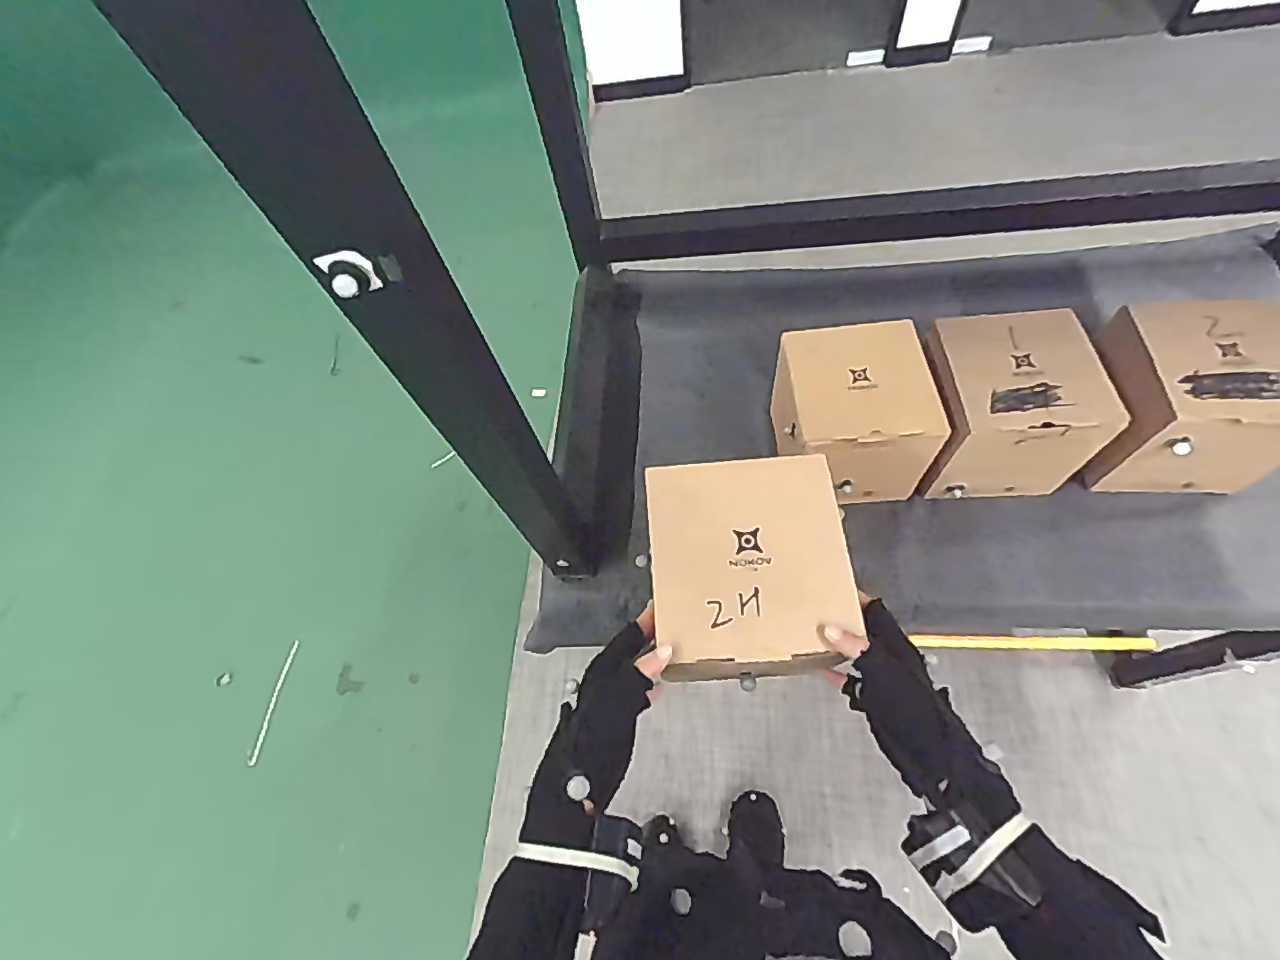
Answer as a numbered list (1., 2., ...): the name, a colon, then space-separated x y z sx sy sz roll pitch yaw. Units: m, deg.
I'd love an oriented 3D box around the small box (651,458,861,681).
1. small box: 0.099 0.098 0.545 0.168 0.176 0.179 -5 63 4
